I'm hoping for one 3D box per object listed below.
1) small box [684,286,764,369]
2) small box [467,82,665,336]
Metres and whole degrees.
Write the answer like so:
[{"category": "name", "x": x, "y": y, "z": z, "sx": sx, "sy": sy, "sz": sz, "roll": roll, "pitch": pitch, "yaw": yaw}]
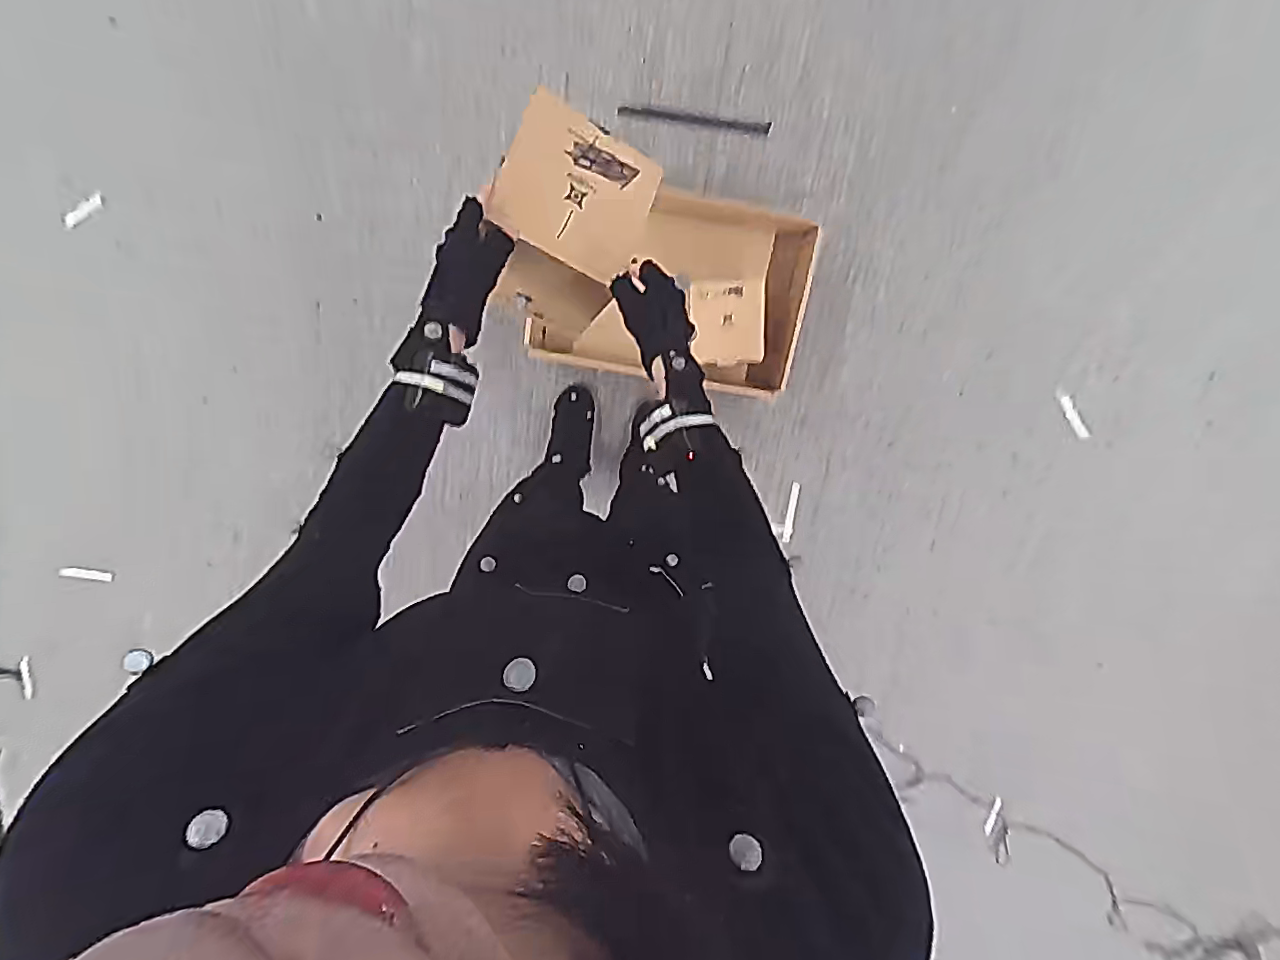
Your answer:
[{"category": "small box", "x": 0.192, "y": -0.357, "z": 1.276, "sx": 0.168, "sy": 0.176, "sz": 0.179, "roll": -2, "pitch": 104, "yaw": 1}, {"category": "small box", "x": -0.097, "y": -0.307, "z": 0.654, "sx": 0.168, "sy": 0.176, "sz": 0.179, "roll": 23, "pitch": 76, "yaw": -20}]
